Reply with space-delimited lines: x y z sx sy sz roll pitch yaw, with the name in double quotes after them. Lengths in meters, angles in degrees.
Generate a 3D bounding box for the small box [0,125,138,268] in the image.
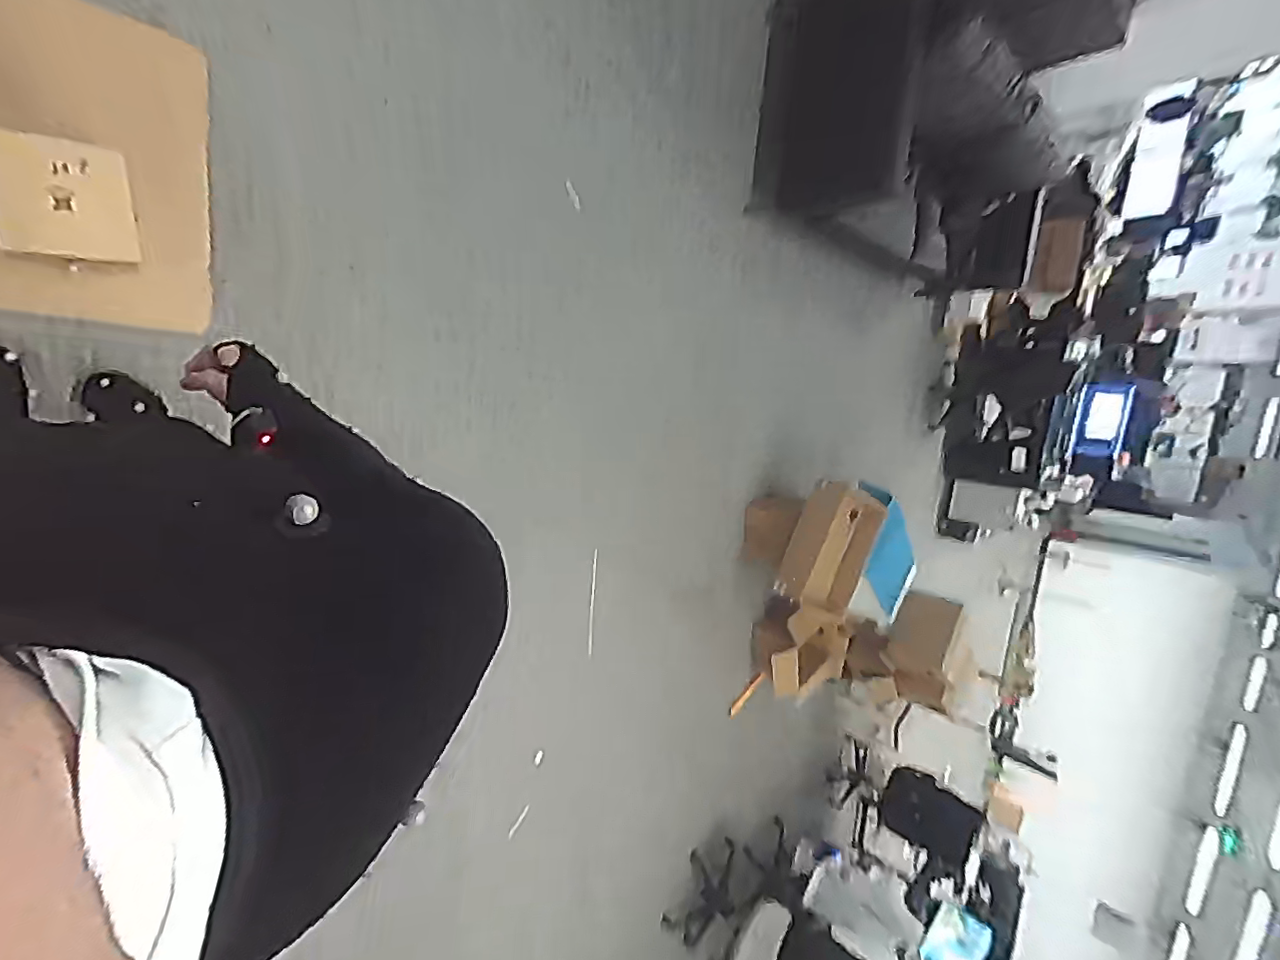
-0.963 -0.459 0.901 0.168 0.176 0.179 -11 108 -44 "small box"
